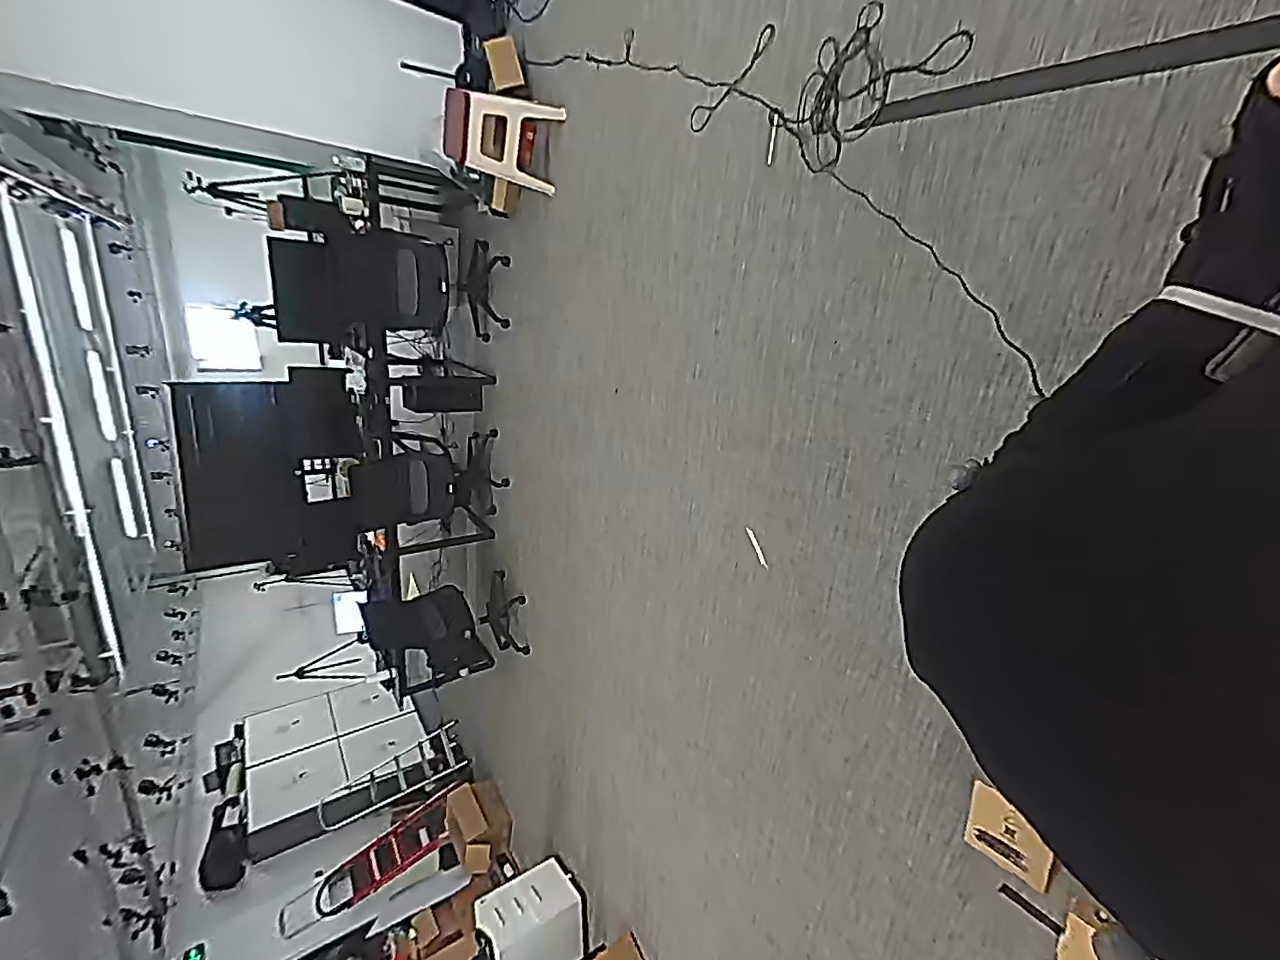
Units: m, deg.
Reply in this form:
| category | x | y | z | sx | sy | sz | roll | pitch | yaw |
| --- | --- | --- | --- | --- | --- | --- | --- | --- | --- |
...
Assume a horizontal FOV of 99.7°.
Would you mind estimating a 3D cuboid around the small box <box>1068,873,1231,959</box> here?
| category | x | y | z | sx | sy | sz | roll | pitch | yaw |
| --- | --- | --- | --- | --- | --- | --- | --- | --- | --- |
| small box | 0.903 | 0.863 | 0.965 | 0.179 | 0.176 | 0.168 | 20 | 114 | 52 |
